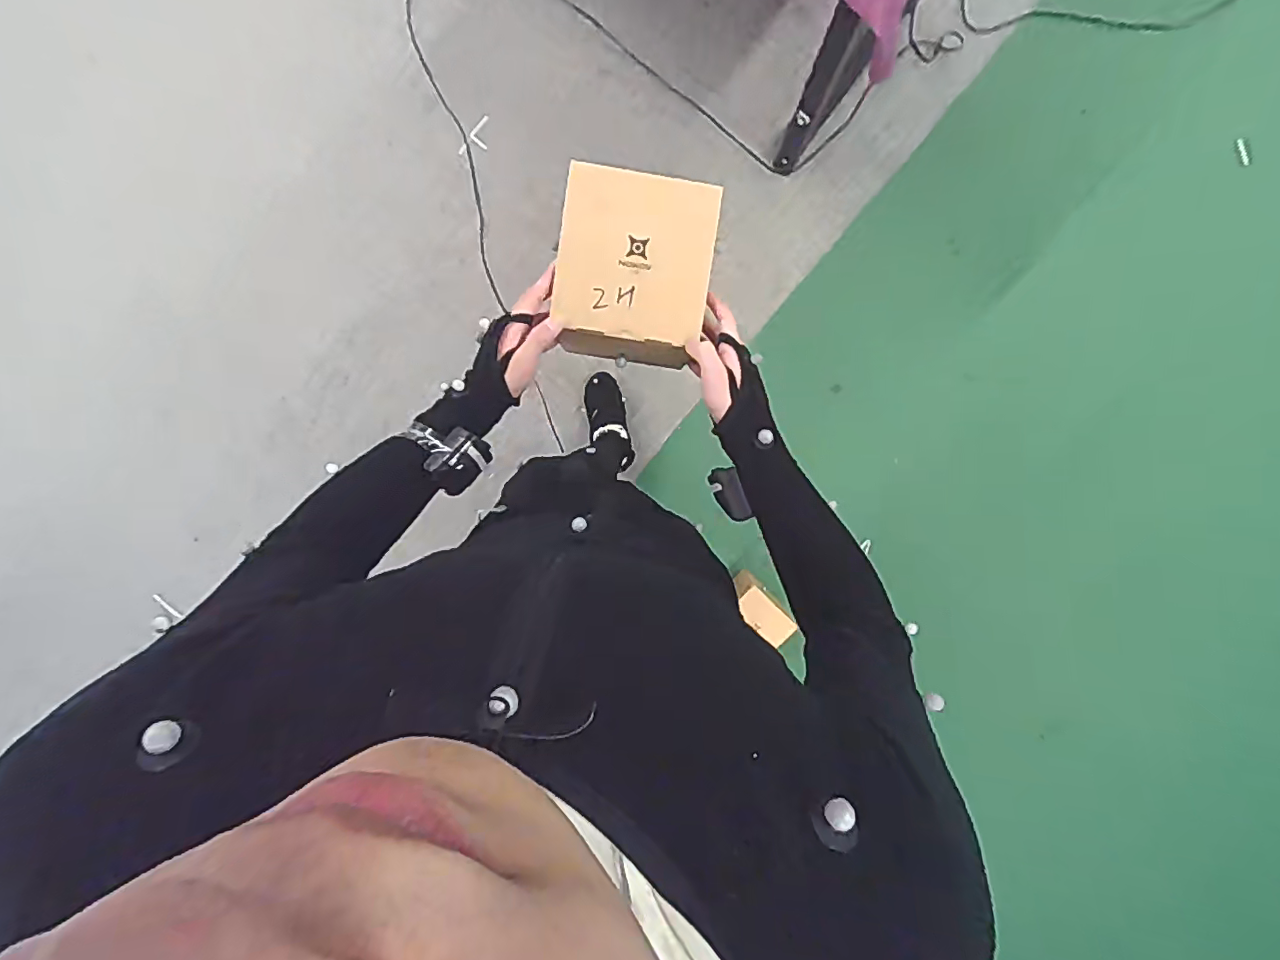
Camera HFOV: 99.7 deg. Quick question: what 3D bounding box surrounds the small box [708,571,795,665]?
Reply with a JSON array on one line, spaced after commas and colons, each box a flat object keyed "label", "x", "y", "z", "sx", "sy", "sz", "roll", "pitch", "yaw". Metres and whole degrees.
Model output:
[{"label": "small box", "x": 0.316, "y": 0.391, "z": 1.569, "sx": 0.179, "sy": 0.176, "sz": 0.168, "roll": 43, "pitch": 96, "yaw": -2}]

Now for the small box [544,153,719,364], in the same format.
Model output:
[{"label": "small box", "x": -0.013, "y": -0.248, "z": 0.648, "sx": 0.168, "sy": 0.176, "sz": 0.179, "roll": 8, "pitch": 94, "yaw": -2}]
